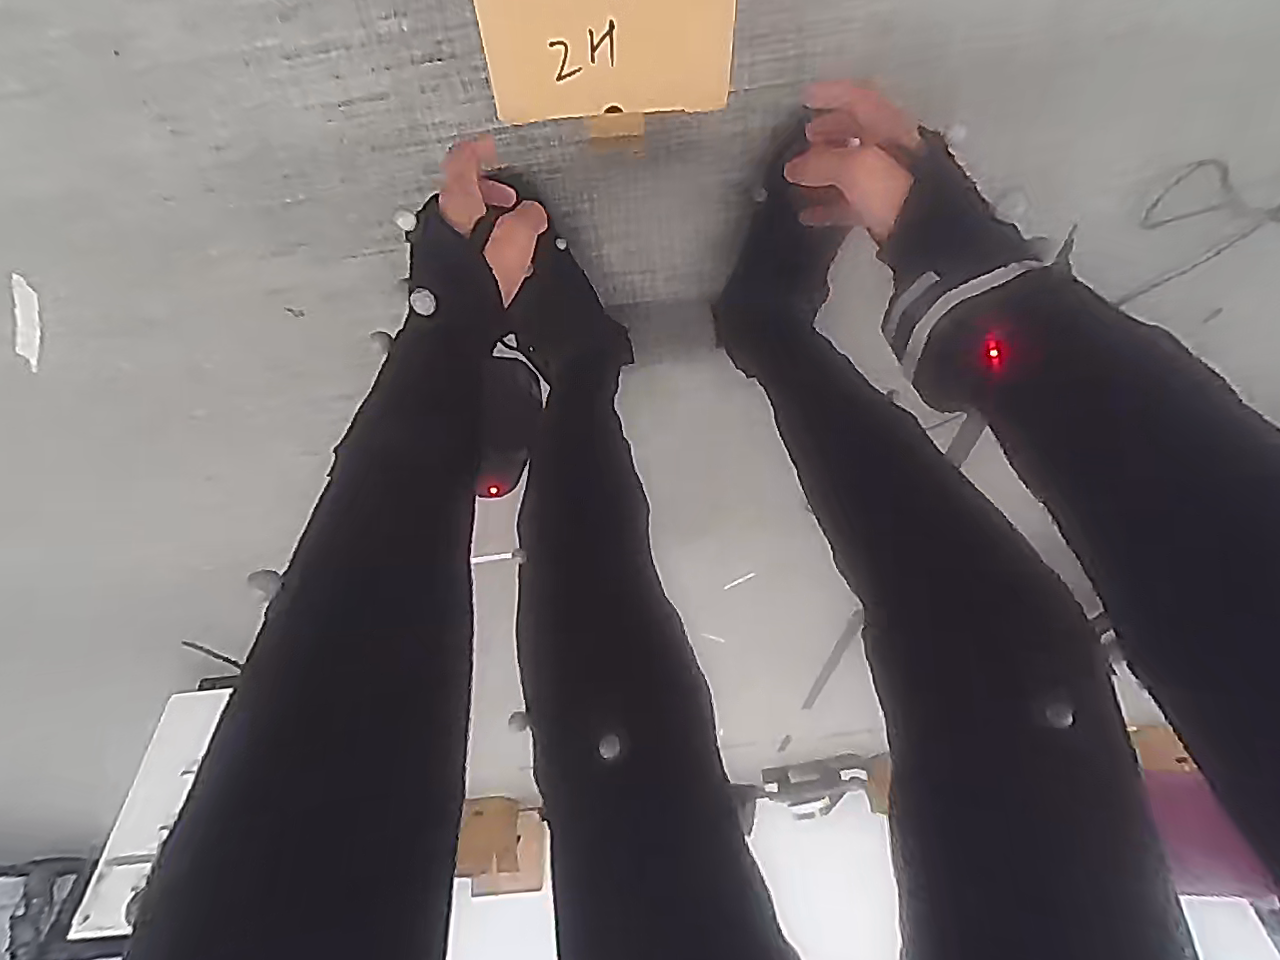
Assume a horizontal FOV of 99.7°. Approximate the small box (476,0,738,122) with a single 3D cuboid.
[{"bbox_3d":[-0.026,-0.375,0.365,0.168,0.176,0.179,-4,143,-1],"label":"small box"}]
